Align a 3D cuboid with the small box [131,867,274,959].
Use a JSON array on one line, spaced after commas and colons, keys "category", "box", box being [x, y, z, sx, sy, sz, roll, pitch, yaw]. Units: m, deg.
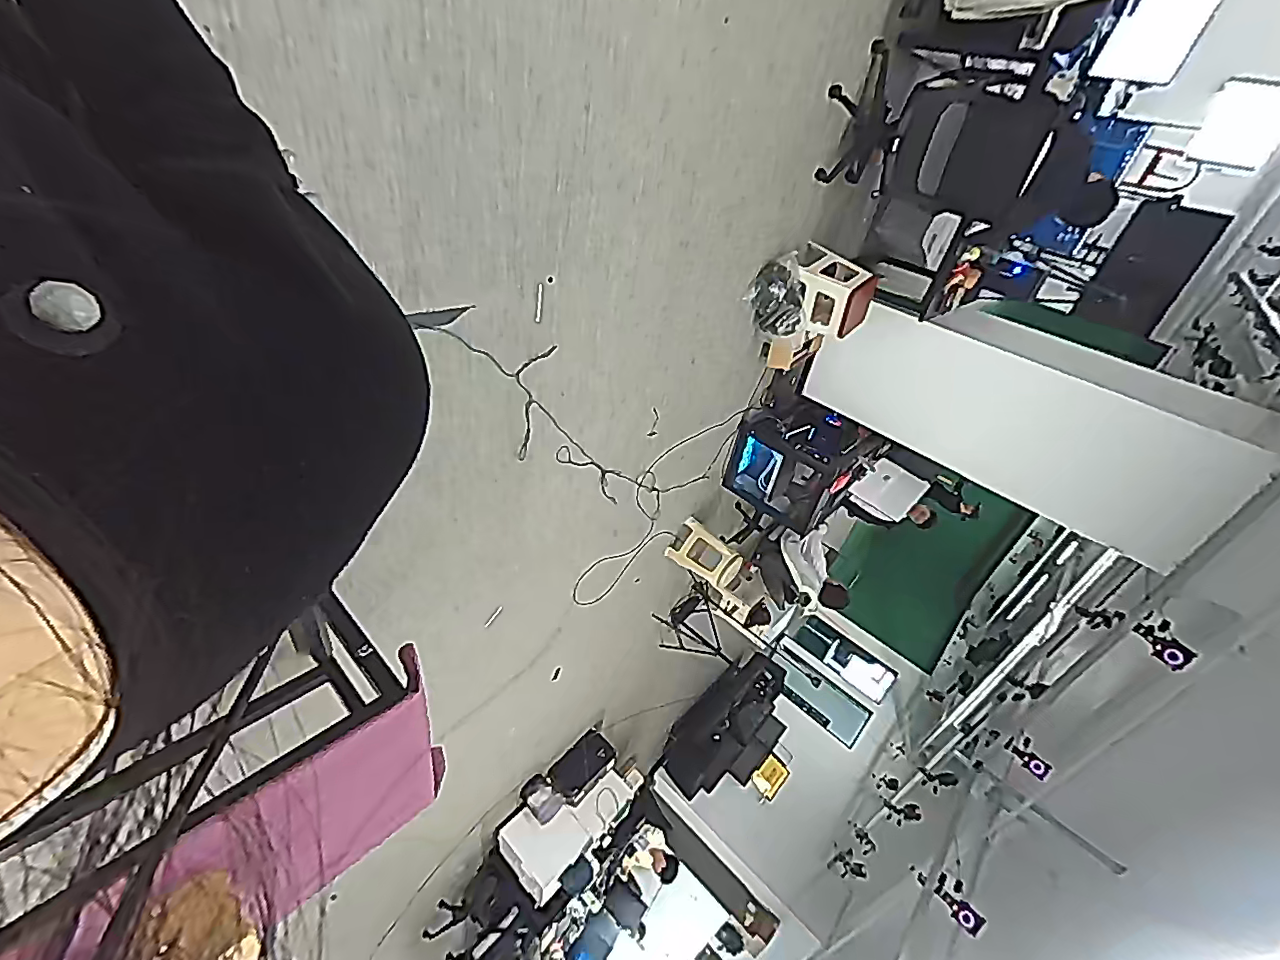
[{"category": "small box", "box": [-0.874, 0.930, 1.085, 0.168, 0.176, 0.179, -25, 142, -42]}]
